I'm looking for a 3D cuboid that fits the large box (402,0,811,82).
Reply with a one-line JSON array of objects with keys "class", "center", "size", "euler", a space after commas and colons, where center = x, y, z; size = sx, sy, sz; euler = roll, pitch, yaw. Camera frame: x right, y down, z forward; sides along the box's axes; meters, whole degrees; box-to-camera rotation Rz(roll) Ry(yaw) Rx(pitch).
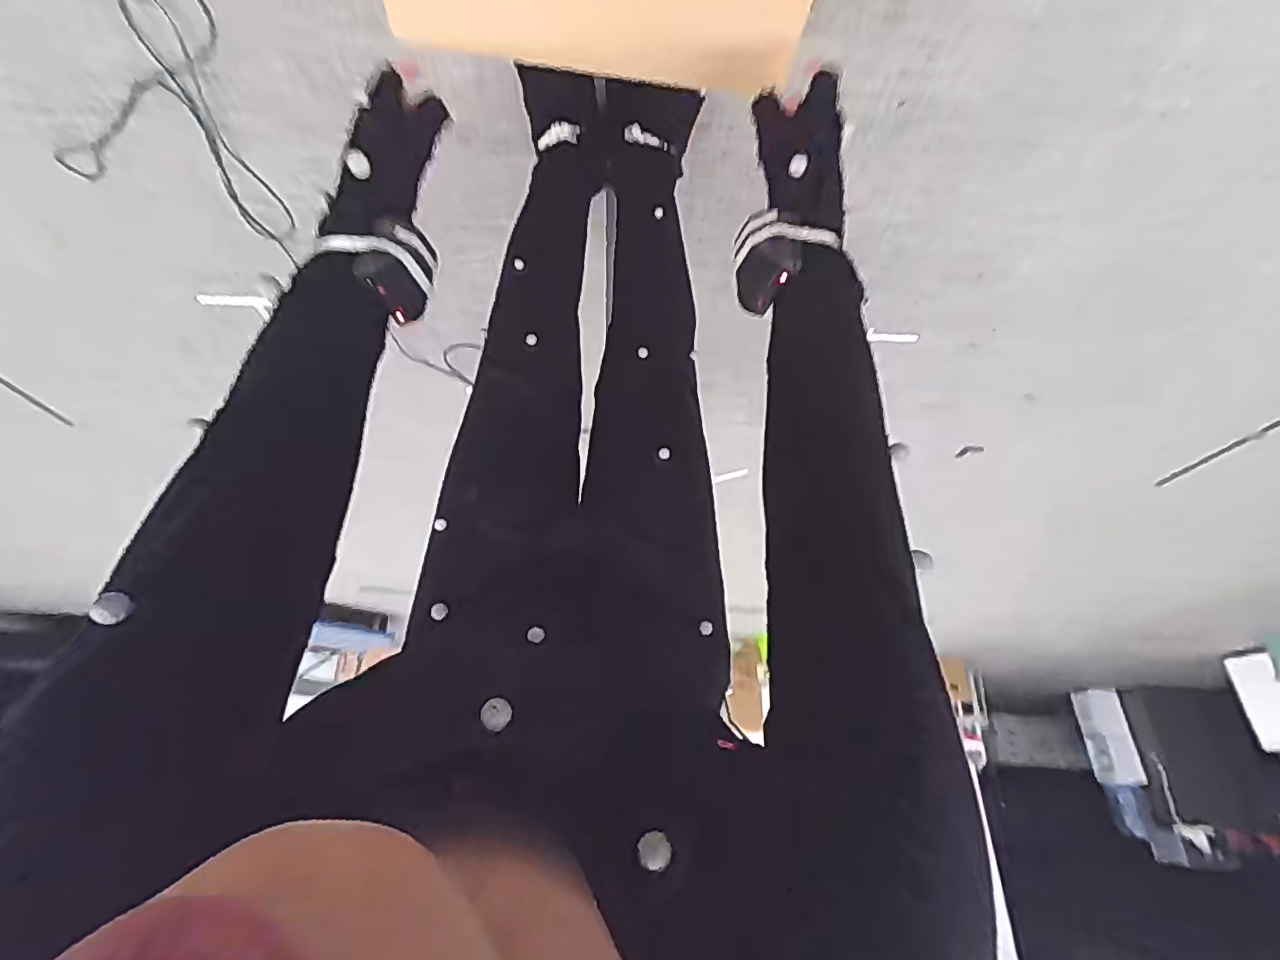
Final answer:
[{"class": "large box", "center": [-0.022, -0.642, 0.510], "size": [0.408, 0.320, 0.320], "euler": [4, 150, -4]}]
